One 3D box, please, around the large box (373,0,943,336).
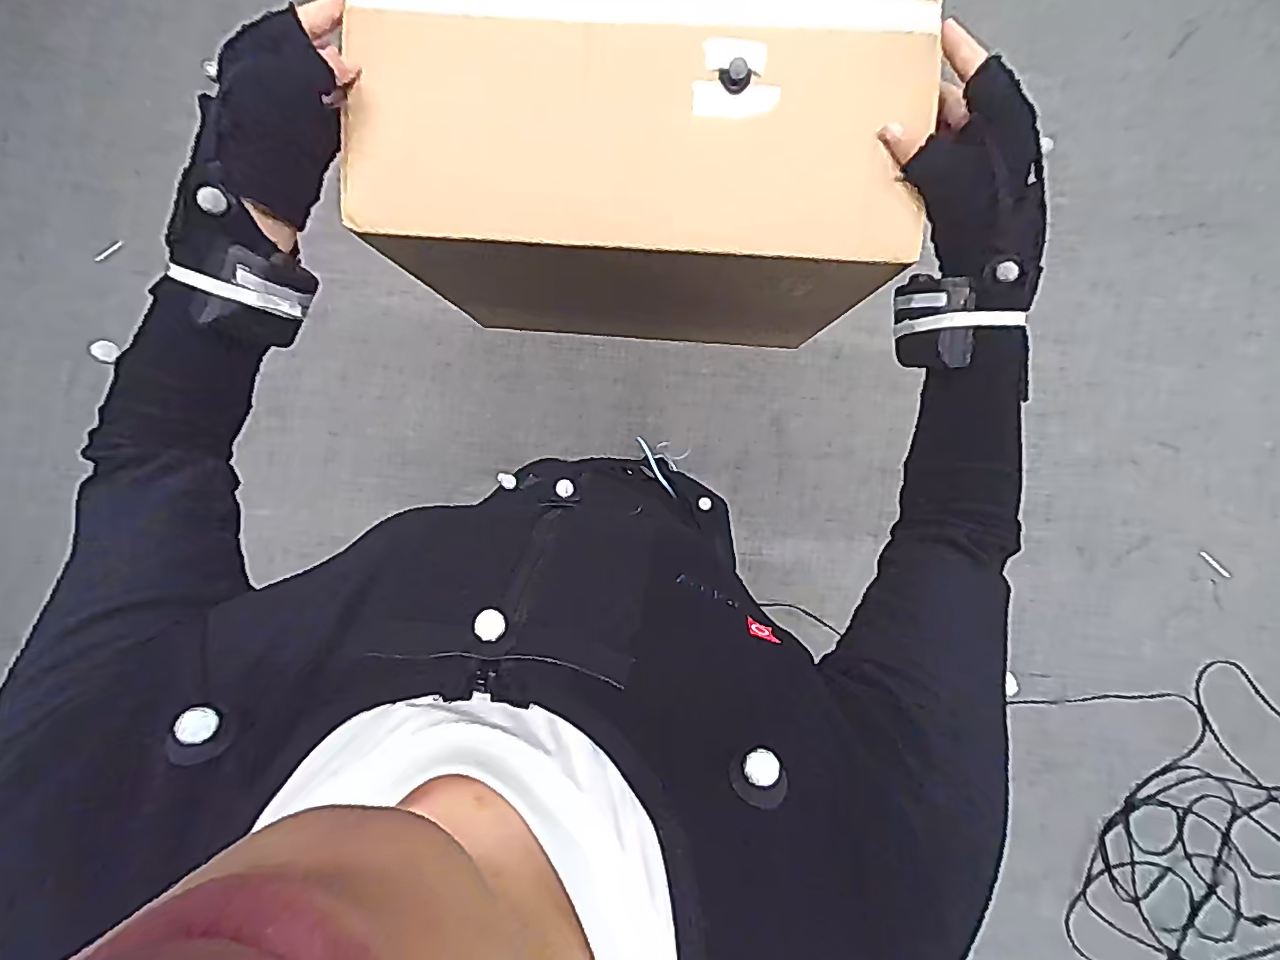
[{"bbox_3d":[0.012,-0.334,0.528,0.408,0.320,0.320,4,94,0],"label":"large box"}]
